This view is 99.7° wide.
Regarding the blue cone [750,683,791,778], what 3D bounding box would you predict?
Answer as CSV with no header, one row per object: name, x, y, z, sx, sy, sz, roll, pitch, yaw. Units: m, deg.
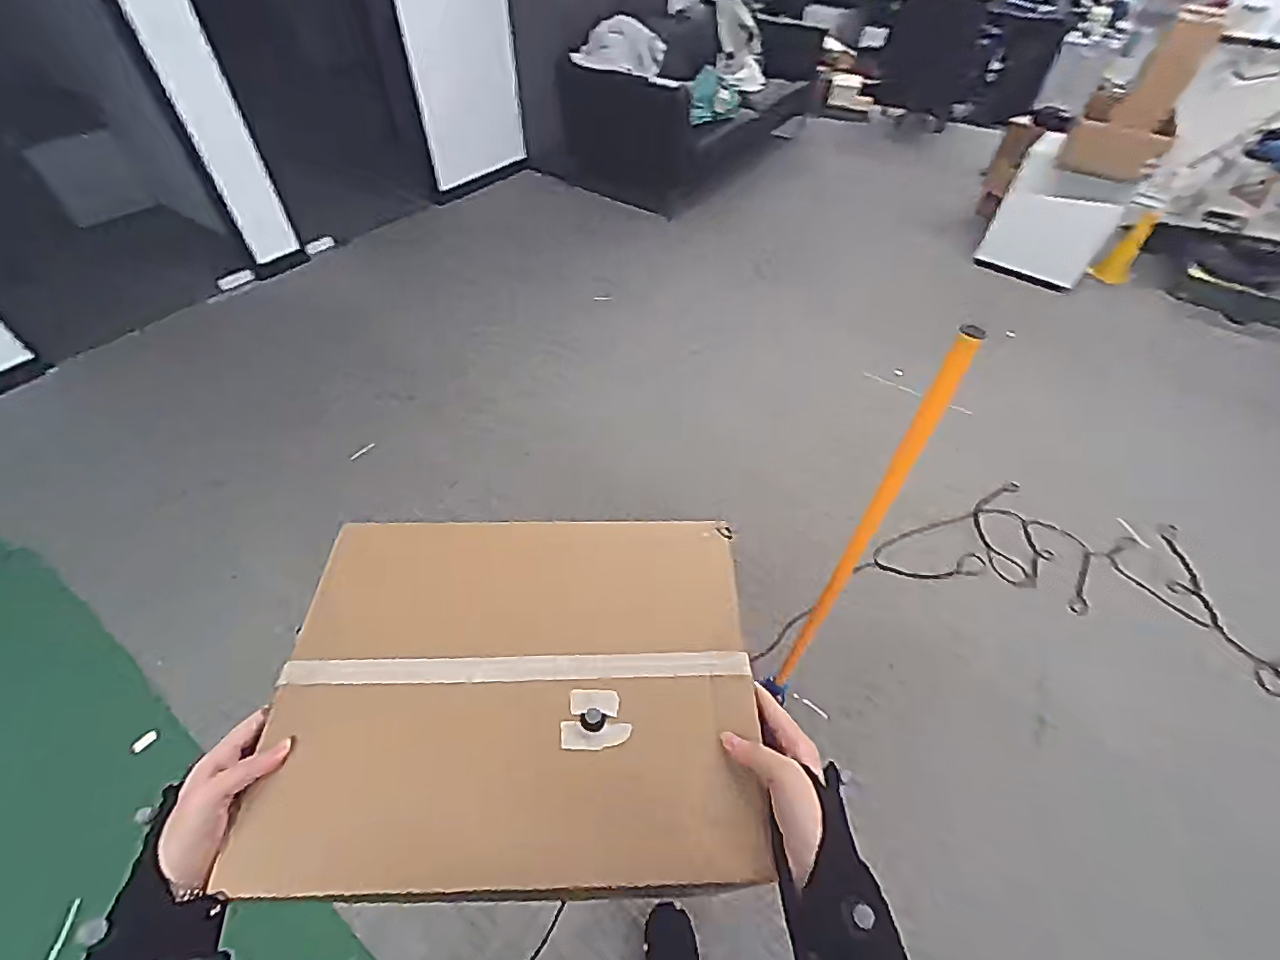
blue cone,0.280,0.563,1.288,0.193,0.380,0.192,37,57,27

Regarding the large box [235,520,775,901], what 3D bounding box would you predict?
large box,-0.109,0.259,0.605,0.408,0.320,0.320,0,52,-4
